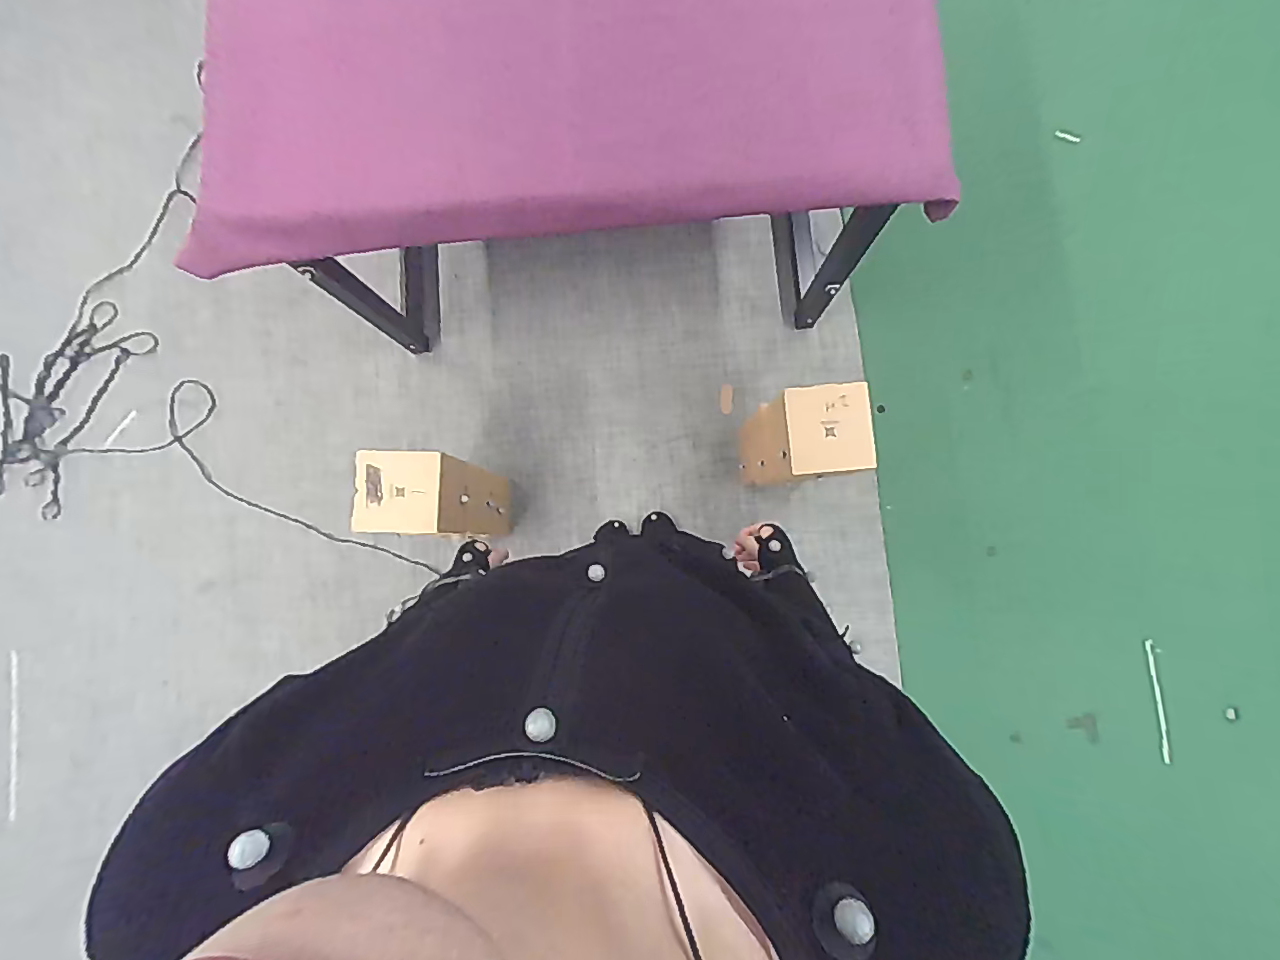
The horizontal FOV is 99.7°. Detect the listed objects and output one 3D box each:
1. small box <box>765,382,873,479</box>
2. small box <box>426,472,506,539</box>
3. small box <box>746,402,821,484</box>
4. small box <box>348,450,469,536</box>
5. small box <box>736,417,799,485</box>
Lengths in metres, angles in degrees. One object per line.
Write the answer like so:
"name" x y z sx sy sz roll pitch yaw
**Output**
"small box" 0.367 -0.096 1.133 0.168 0.176 0.179 -5 85 1
"small box" -0.467 0.070 1.472 0.168 0.176 0.179 -1 85 2
"small box" 0.356 -0.090 1.298 0.168 0.176 0.179 -6 86 1
"small box" -0.482 0.032 1.144 0.179 0.176 0.168 1 84 2
"small box" 0.356 -0.076 1.459 0.179 0.176 0.168 -3 85 1
